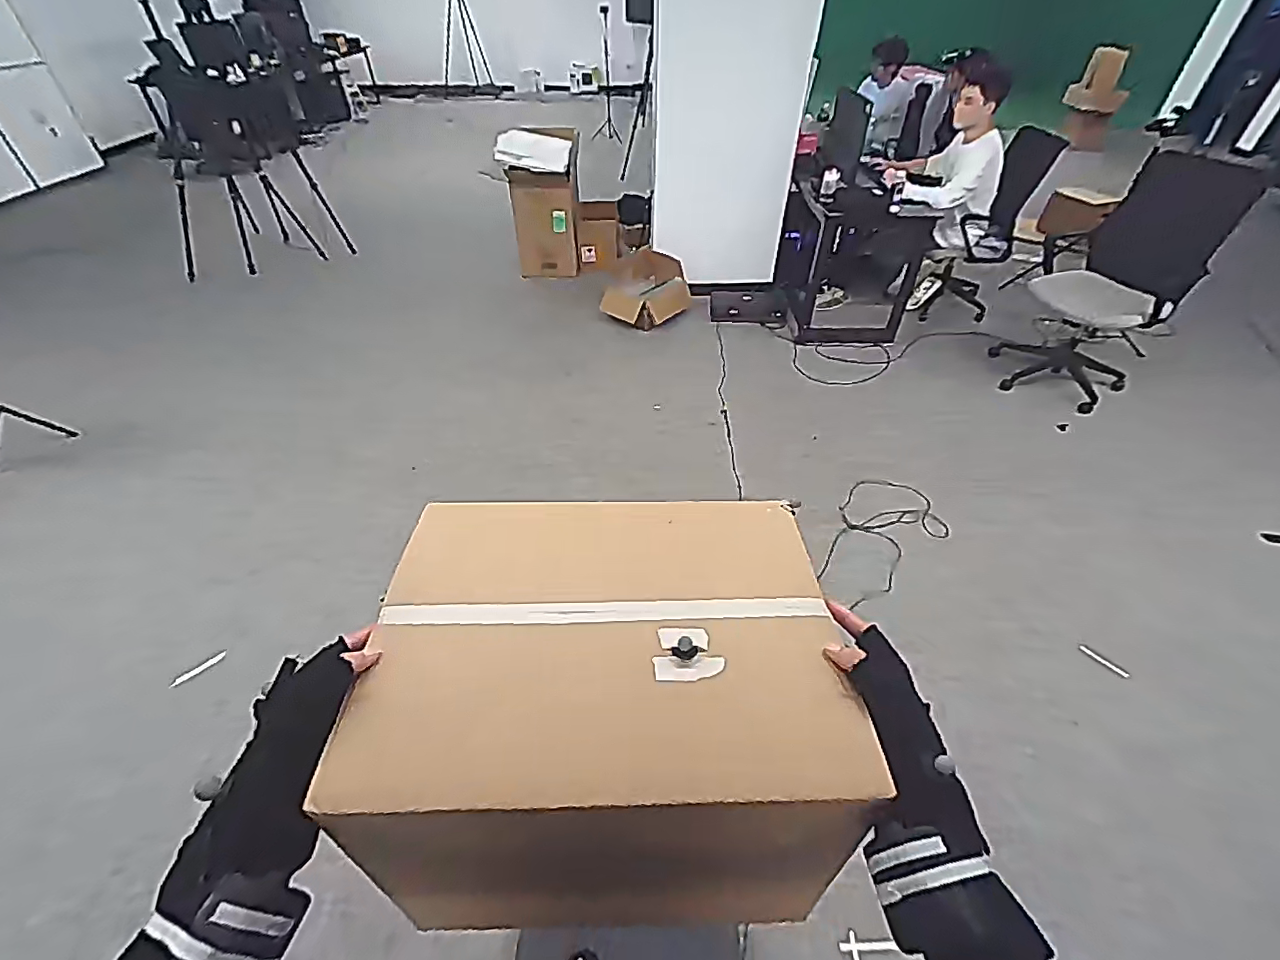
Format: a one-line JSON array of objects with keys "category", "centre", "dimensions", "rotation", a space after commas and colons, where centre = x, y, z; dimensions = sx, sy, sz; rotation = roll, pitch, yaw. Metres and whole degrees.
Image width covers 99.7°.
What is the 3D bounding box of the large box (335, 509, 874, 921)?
[{"category": "large box", "centre": [-0.031, 0.247, 0.598], "dimensions": [0.408, 0.320, 0.320], "rotation": [0, 39, -2]}]
